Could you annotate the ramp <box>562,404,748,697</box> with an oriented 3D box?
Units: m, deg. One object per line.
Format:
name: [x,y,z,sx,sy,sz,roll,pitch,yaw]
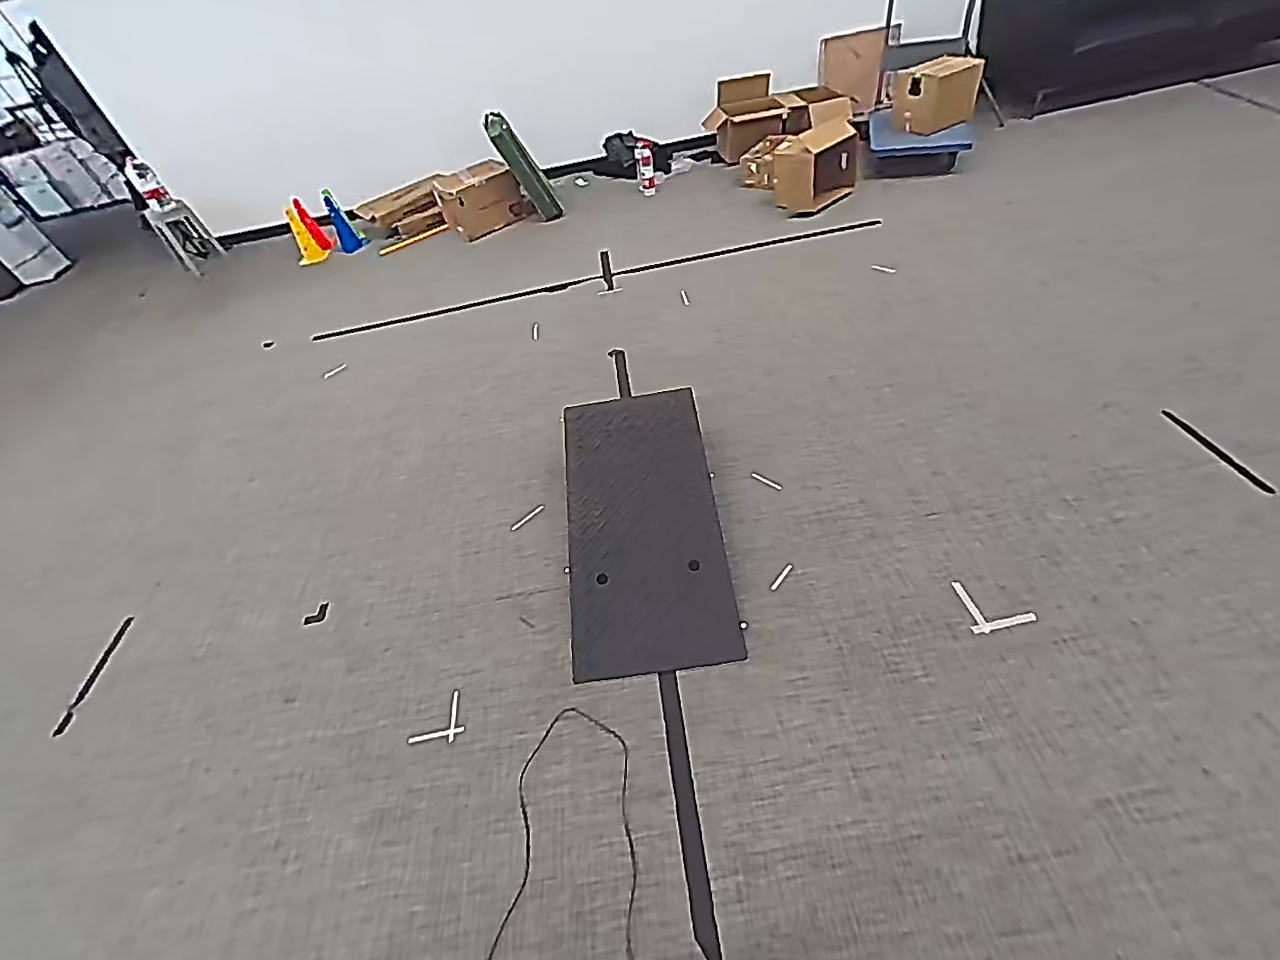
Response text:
ramp: [0.004,0.162,1.783,0.509,0.206,0.991,-11,45,1]
